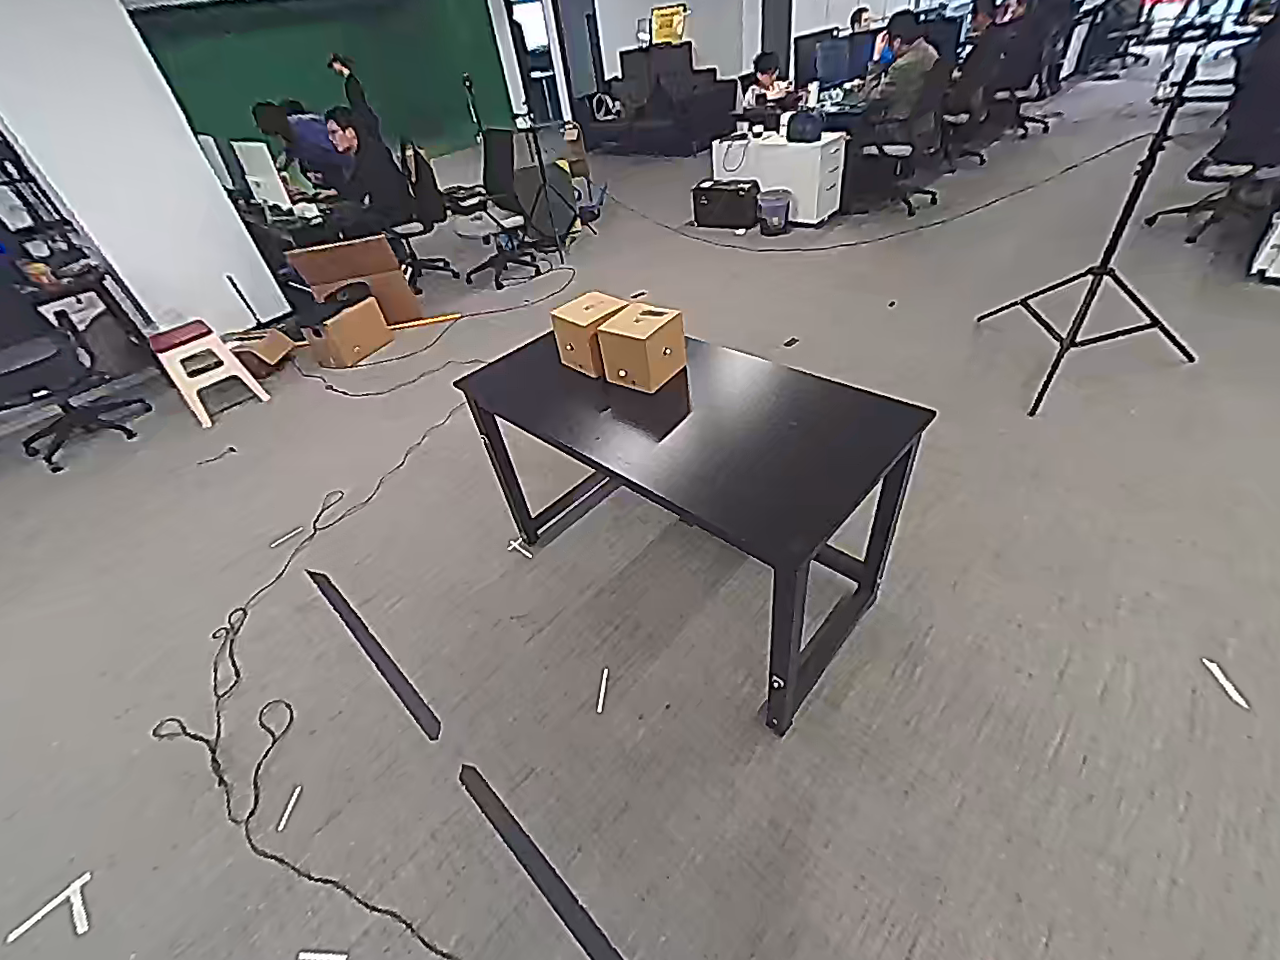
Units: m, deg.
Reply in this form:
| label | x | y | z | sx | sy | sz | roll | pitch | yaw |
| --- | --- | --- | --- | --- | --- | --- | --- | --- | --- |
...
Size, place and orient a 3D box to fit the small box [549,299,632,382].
| label | x | y | z | sx | sy | sz | roll | pitch | yaw |
| --- | --- | --- | --- | --- | --- | --- | --- | --- | --- |
| small box | -0.142 | -0.419 | 1.626 | 0.179 | 0.176 | 0.168 | -36 | 47 | -28 |
